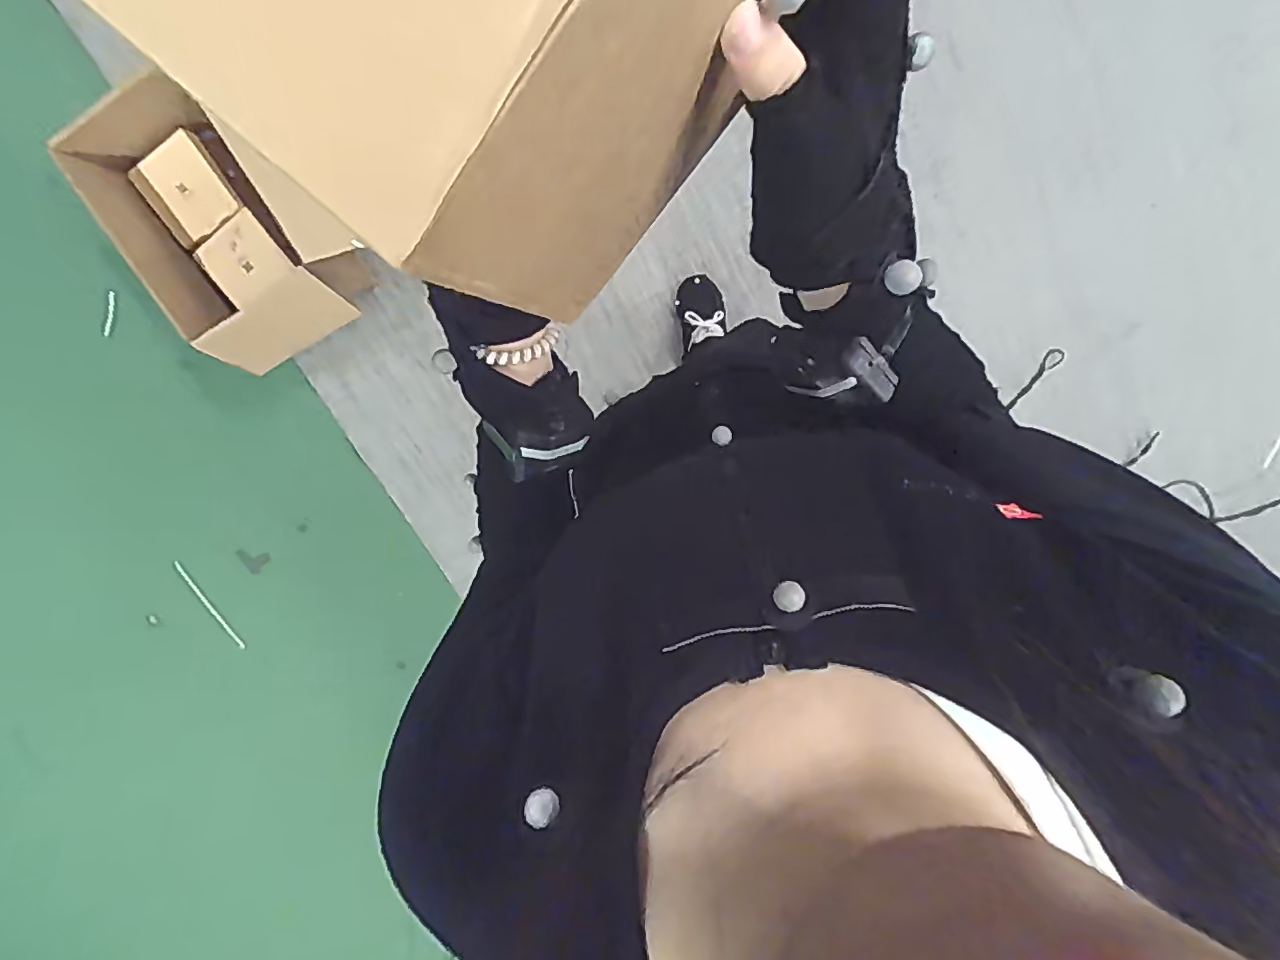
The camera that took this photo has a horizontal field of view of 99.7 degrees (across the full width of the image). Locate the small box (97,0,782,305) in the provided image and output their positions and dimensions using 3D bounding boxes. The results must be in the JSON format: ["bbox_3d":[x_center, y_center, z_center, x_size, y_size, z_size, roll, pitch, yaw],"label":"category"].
[{"bbox_3d":[-0.055,-0.185,0.184,0.168,0.176,0.179,41,104,-2],"label":"small box"}]
